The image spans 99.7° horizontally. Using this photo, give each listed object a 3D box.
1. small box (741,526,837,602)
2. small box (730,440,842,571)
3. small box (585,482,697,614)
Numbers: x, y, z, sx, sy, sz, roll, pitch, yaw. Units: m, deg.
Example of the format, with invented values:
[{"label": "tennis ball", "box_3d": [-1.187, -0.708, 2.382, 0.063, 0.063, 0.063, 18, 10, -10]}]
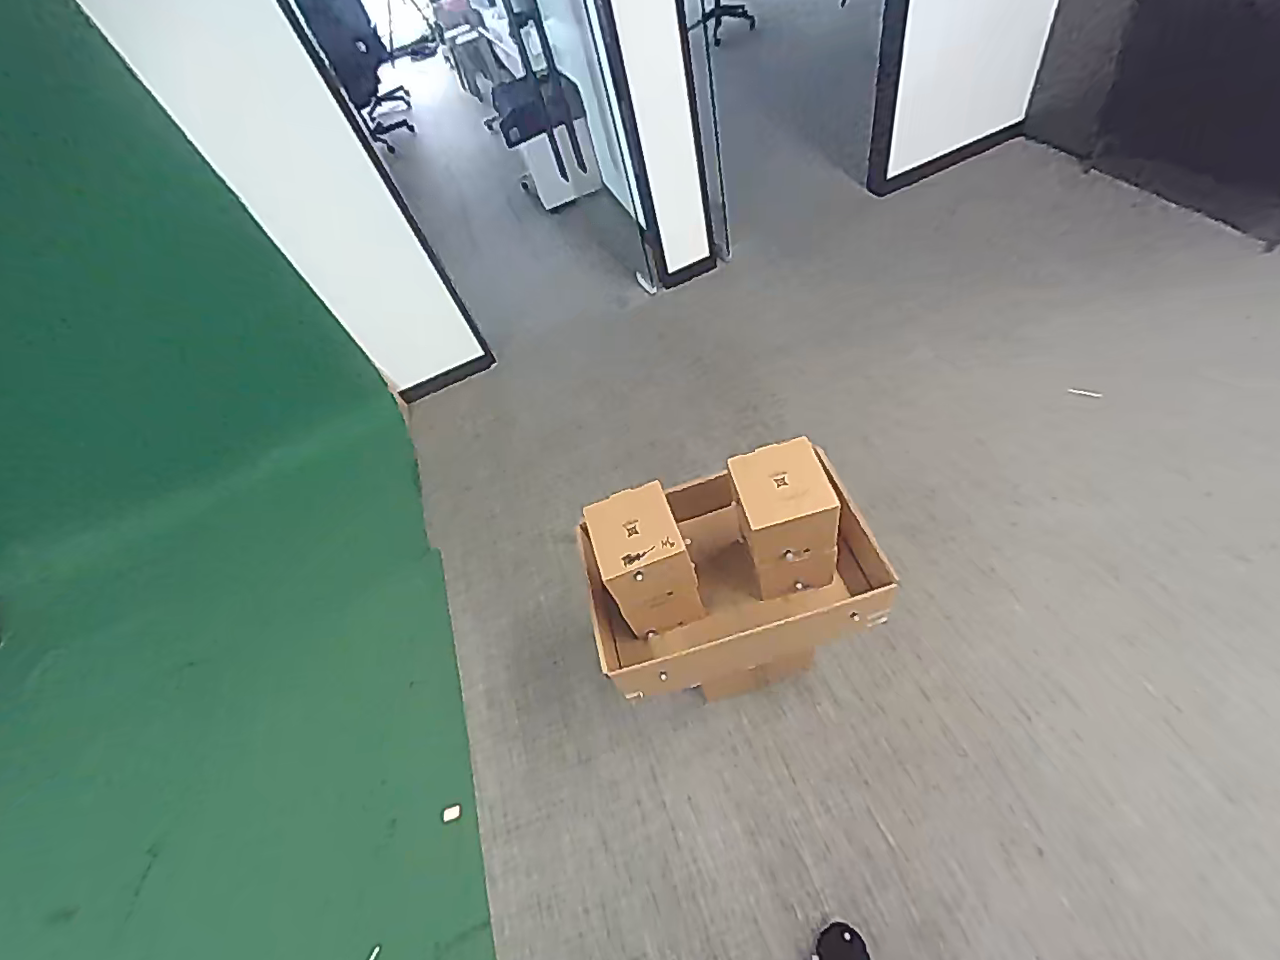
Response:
[{"label": "small box", "box_3d": [0.323, 0.146, 1.202, 0.168, 0.176, 0.179, -15, 52, 5]}, {"label": "small box", "box_3d": [0.283, 0.053, 1.074, 0.168, 0.176, 0.179, -16, 52, 4]}, {"label": "small box", "box_3d": [0.005, 0.139, 1.086, 0.168, 0.176, 0.179, -21, 51, 1]}]
